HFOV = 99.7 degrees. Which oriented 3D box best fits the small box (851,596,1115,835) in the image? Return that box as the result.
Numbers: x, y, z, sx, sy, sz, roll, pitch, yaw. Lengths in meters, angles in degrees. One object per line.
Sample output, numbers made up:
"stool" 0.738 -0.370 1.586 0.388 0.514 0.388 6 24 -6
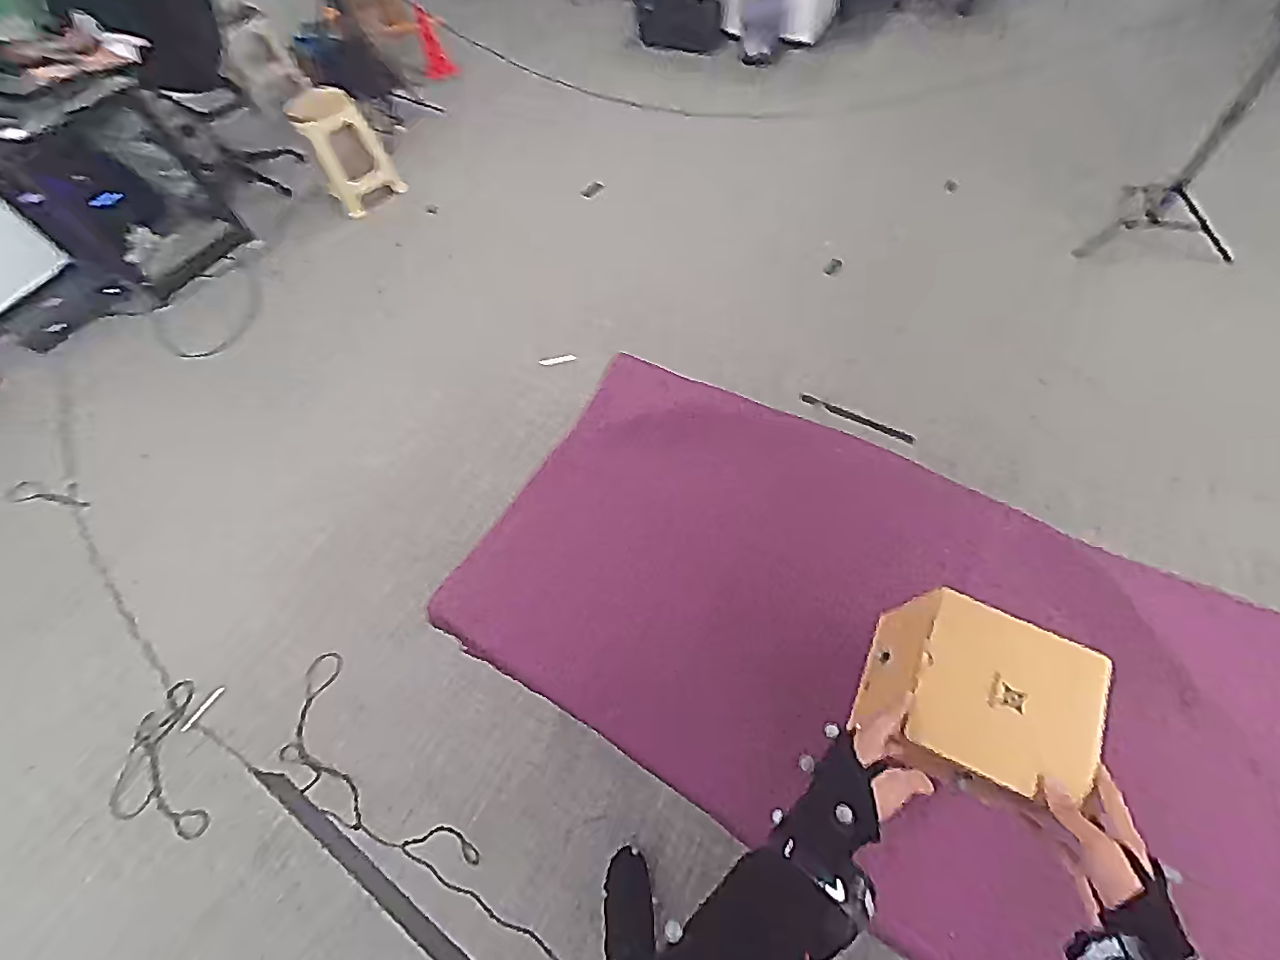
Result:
"small box" 0.367 0.252 0.605 0.179 0.176 0.168 23 69 12
